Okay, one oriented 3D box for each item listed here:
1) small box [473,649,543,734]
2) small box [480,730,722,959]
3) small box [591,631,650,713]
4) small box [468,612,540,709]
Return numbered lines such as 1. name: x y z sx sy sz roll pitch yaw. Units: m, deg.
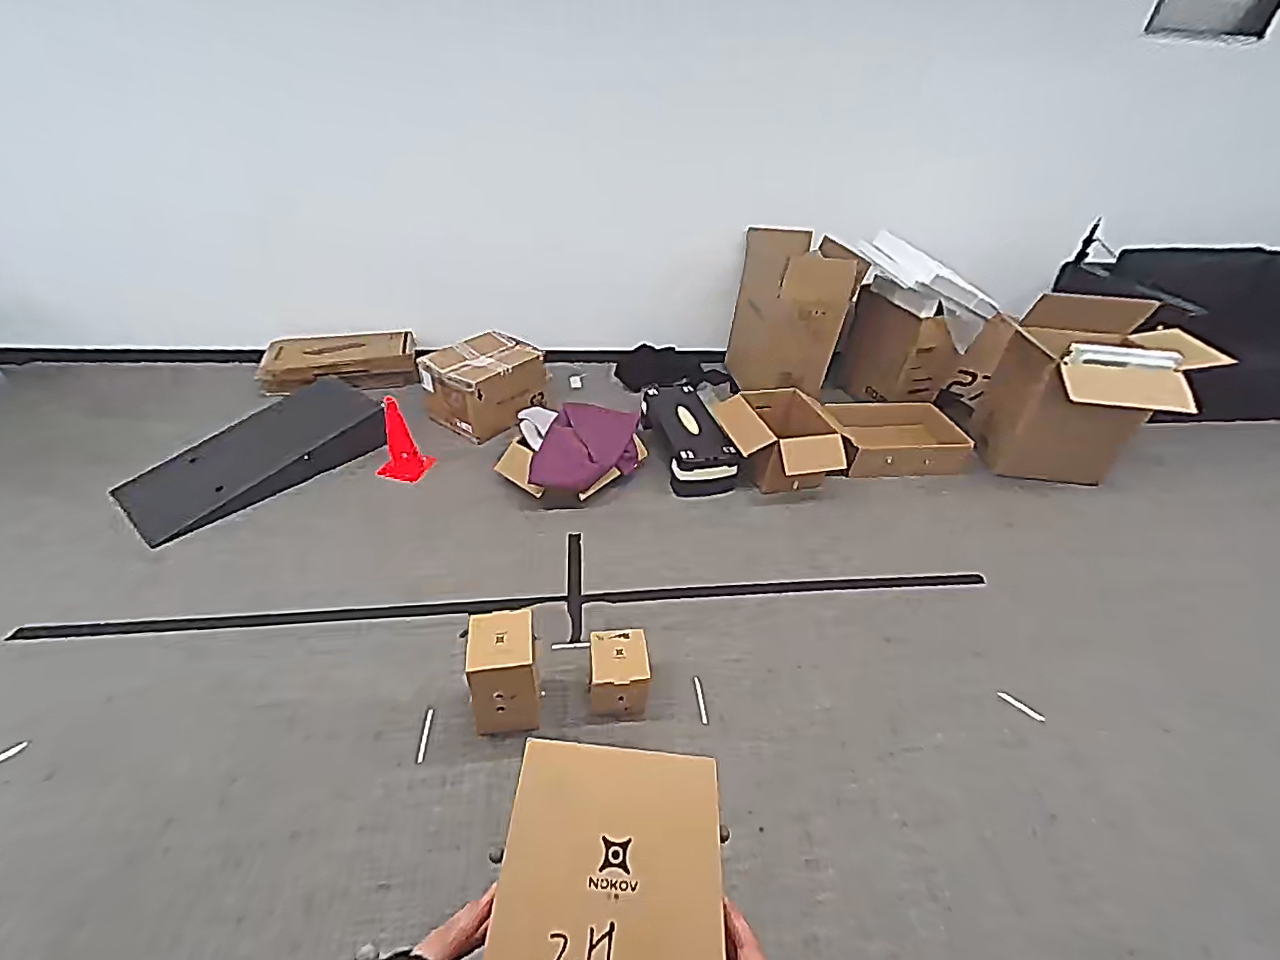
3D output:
1. small box: -0.373 0.610 1.554 0.179 0.176 0.168 -3 38 -9
2. small box: -0.030 0.343 0.459 0.168 0.176 0.179 7 41 -2
3. small box: -0.062 0.580 1.622 0.168 0.176 0.179 -2 39 -7
4. small box: -0.361 0.483 1.453 0.168 0.176 0.179 -6 40 -9
